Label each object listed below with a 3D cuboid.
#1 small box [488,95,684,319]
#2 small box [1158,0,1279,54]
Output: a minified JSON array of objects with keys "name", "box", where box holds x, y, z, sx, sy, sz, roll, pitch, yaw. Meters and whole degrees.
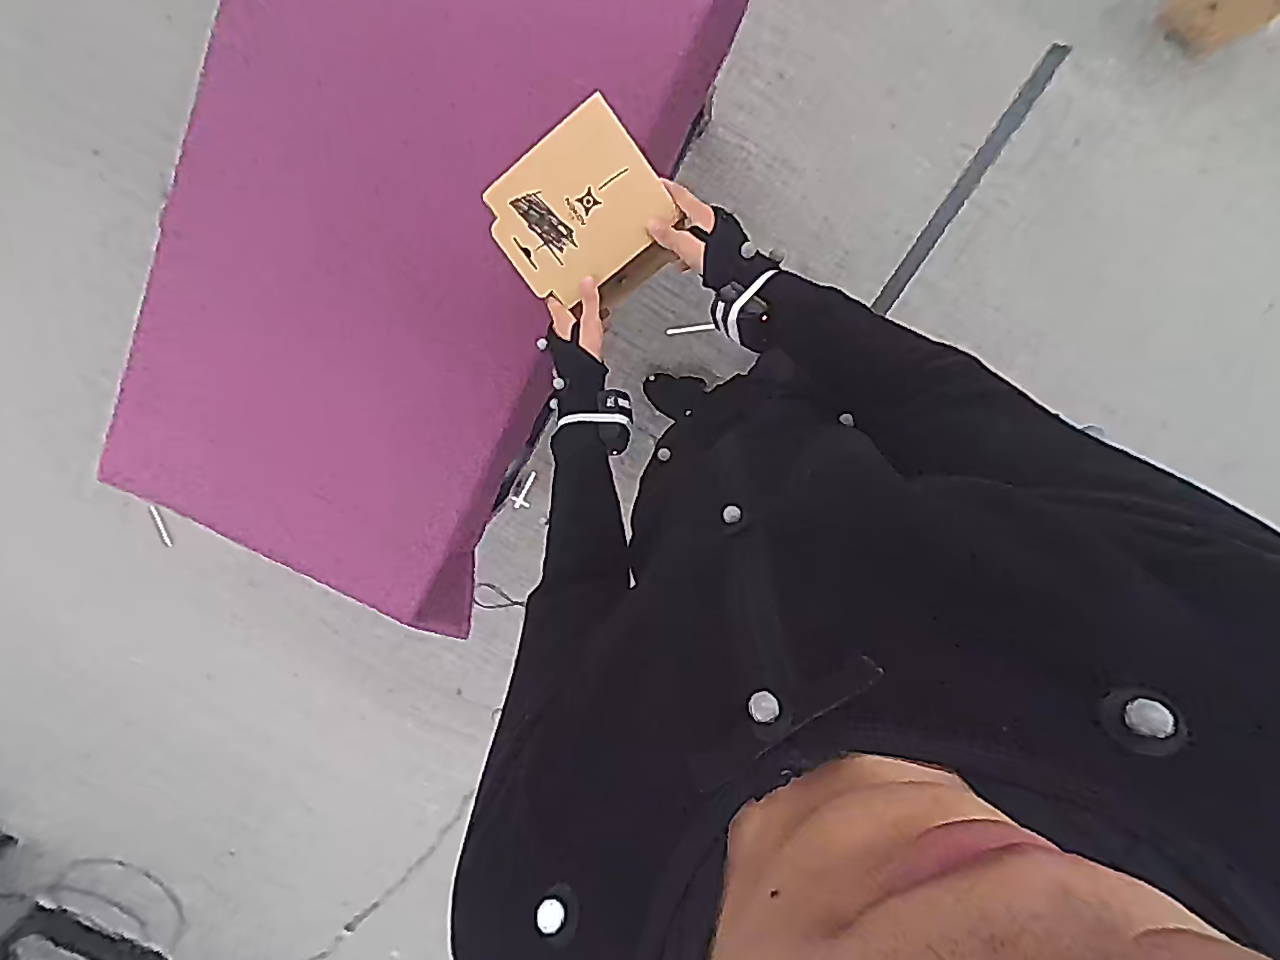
[{"name":"small box","box":[-0.056,-0.328,0.697,0.179,0.176,0.168,-35,96,9]},{"name":"small box","box":[1.302,-1.092,1.179,0.168,0.176,0.179,33,105,-6]}]
